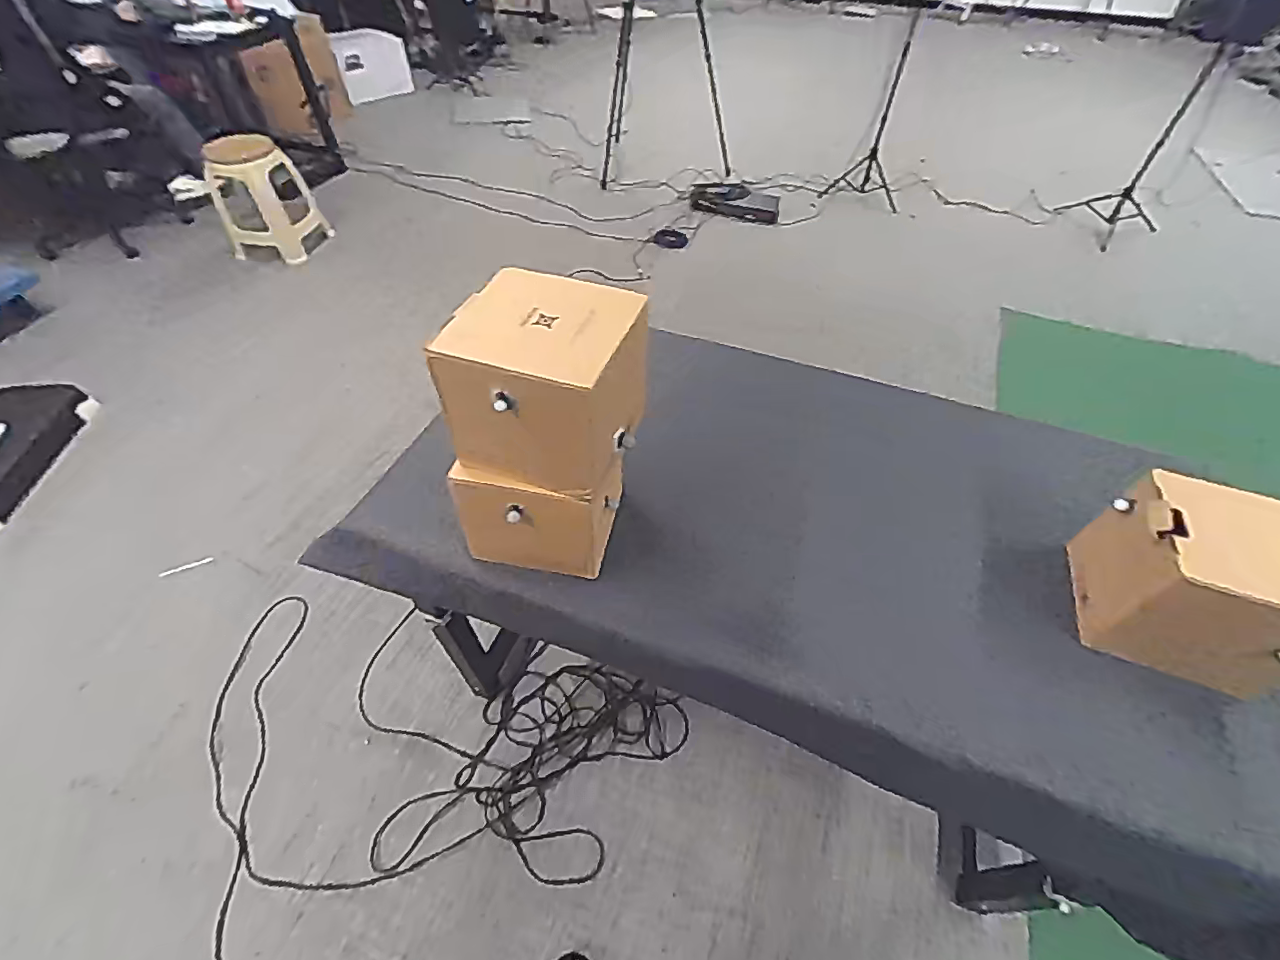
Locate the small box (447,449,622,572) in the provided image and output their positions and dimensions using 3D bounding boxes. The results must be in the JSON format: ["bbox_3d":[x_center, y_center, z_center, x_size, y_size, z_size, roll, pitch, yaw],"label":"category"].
[{"bbox_3d":[-0.123,0.003,0.717,0.179,0.176,0.168,9,49,6],"label":"small box"}]

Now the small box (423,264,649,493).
[{"bbox_3d":[-0.100,-0.109,0.599,0.179,0.176,0.168,16,52,11],"label":"small box"}]
